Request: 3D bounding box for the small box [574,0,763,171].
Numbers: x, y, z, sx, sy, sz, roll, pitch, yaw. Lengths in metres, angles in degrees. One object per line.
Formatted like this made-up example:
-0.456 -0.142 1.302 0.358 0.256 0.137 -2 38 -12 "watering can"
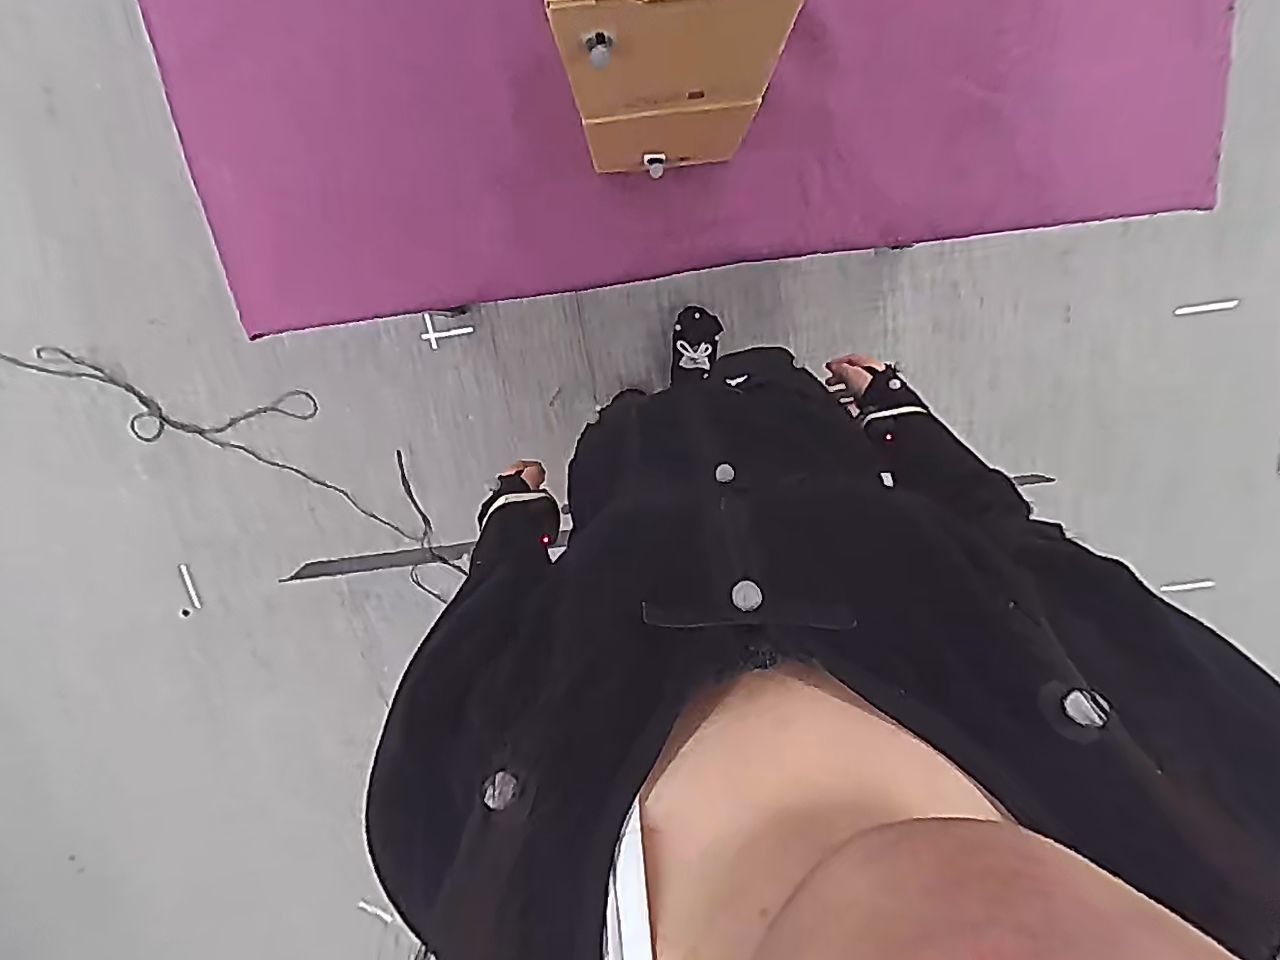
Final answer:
0.023 -0.439 0.546 0.168 0.176 0.179 -5 105 2 "small box"
